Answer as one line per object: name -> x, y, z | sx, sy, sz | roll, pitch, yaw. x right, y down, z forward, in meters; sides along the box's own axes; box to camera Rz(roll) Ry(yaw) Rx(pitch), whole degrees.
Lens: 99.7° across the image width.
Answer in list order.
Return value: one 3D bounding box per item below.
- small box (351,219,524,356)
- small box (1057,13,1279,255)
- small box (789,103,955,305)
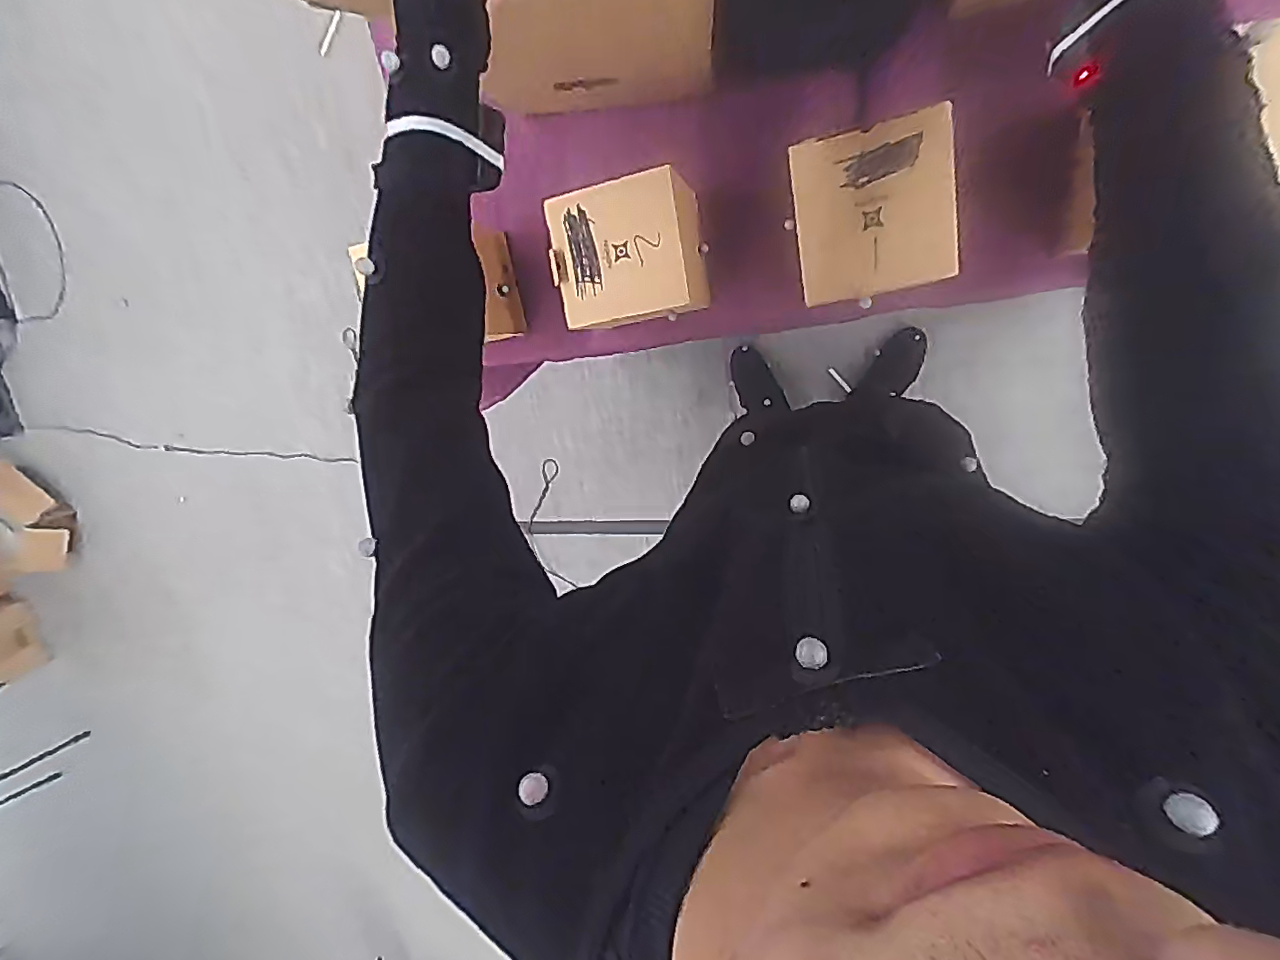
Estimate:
small box -> -0.316, -0.299, 0.872 | 0.179, 0.176, 0.168 | -7, 104, 18
small box -> 0.576, -0.346, 0.570 | 0.168, 0.176, 0.179 | 2, 107, 18
small box -> 0.279, -0.322, 0.674 | 0.168, 0.176, 0.179 | -6, 105, 20
